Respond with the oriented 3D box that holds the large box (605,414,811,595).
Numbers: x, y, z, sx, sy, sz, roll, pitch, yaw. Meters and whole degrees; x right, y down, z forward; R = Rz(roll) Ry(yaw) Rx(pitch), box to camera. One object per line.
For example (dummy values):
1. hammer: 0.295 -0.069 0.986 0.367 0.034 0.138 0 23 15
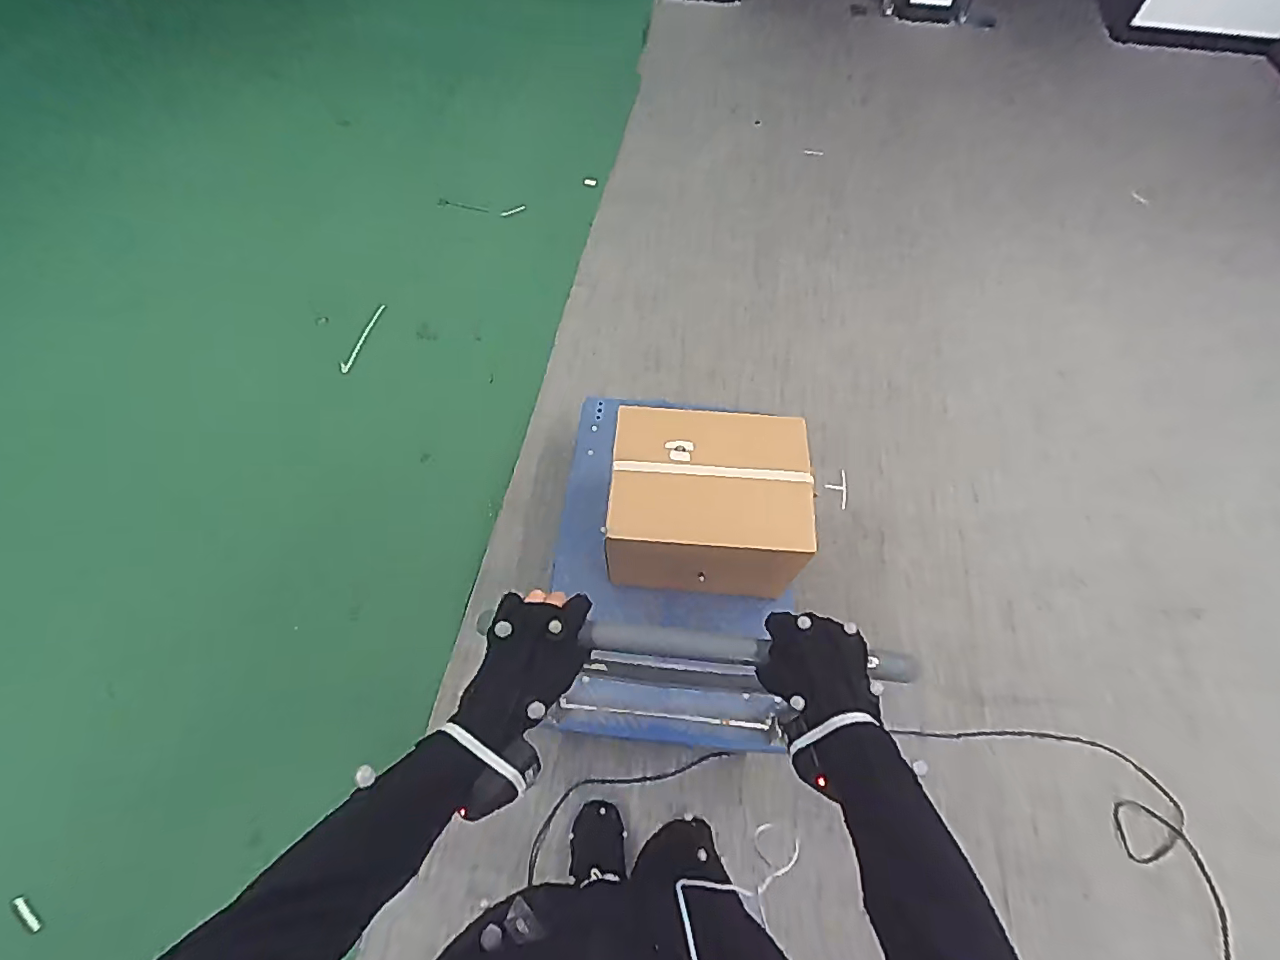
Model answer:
1. large box: 0.143 0.066 1.240 0.408 0.320 0.320 3 61 3
